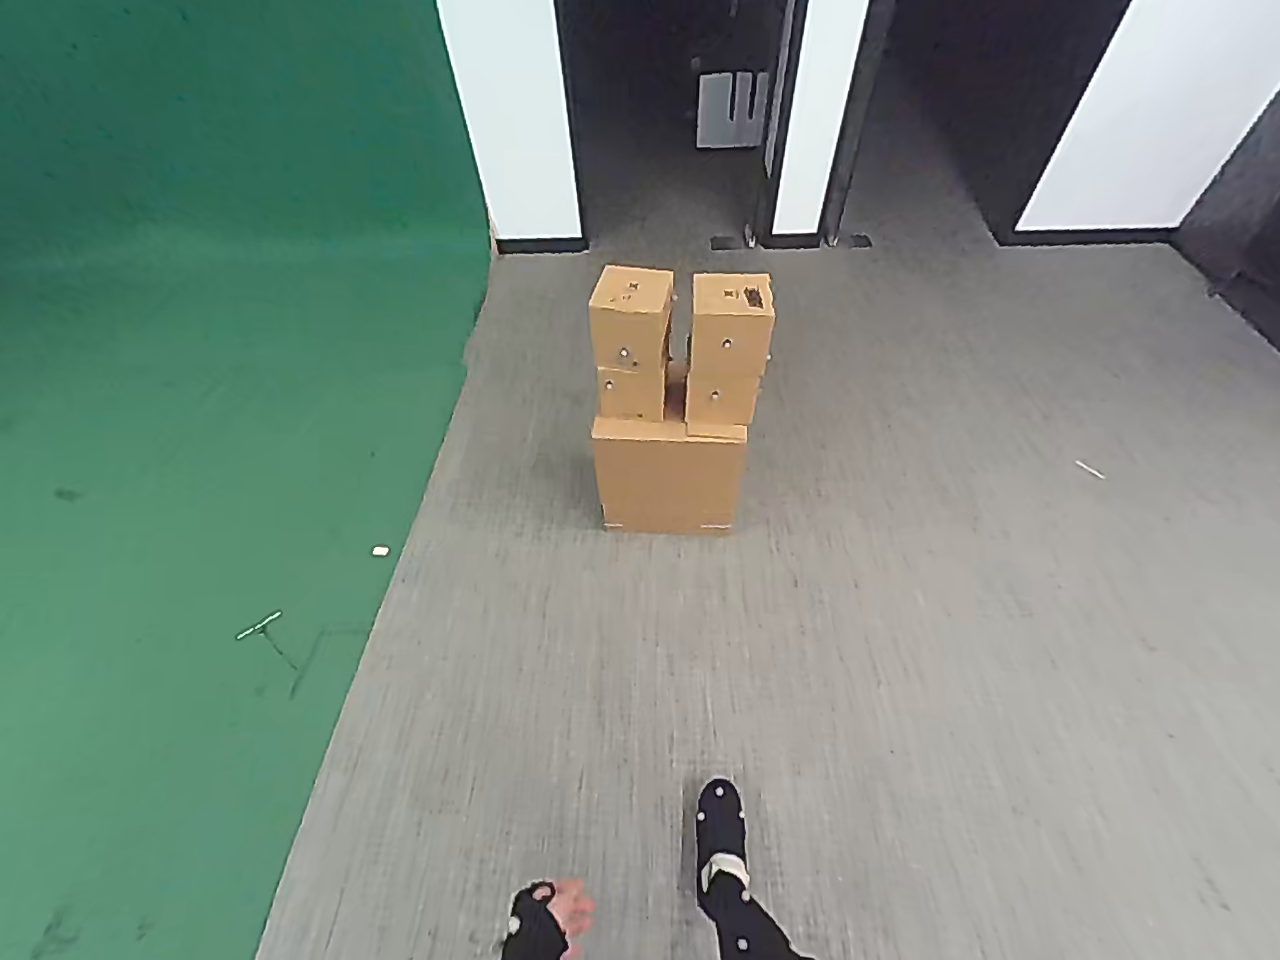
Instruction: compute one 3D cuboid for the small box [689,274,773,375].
[{"bbox_3d":[0.207,-0.360,1.265,0.179,0.176,0.168,1,52,5],"label":"small box"}]
